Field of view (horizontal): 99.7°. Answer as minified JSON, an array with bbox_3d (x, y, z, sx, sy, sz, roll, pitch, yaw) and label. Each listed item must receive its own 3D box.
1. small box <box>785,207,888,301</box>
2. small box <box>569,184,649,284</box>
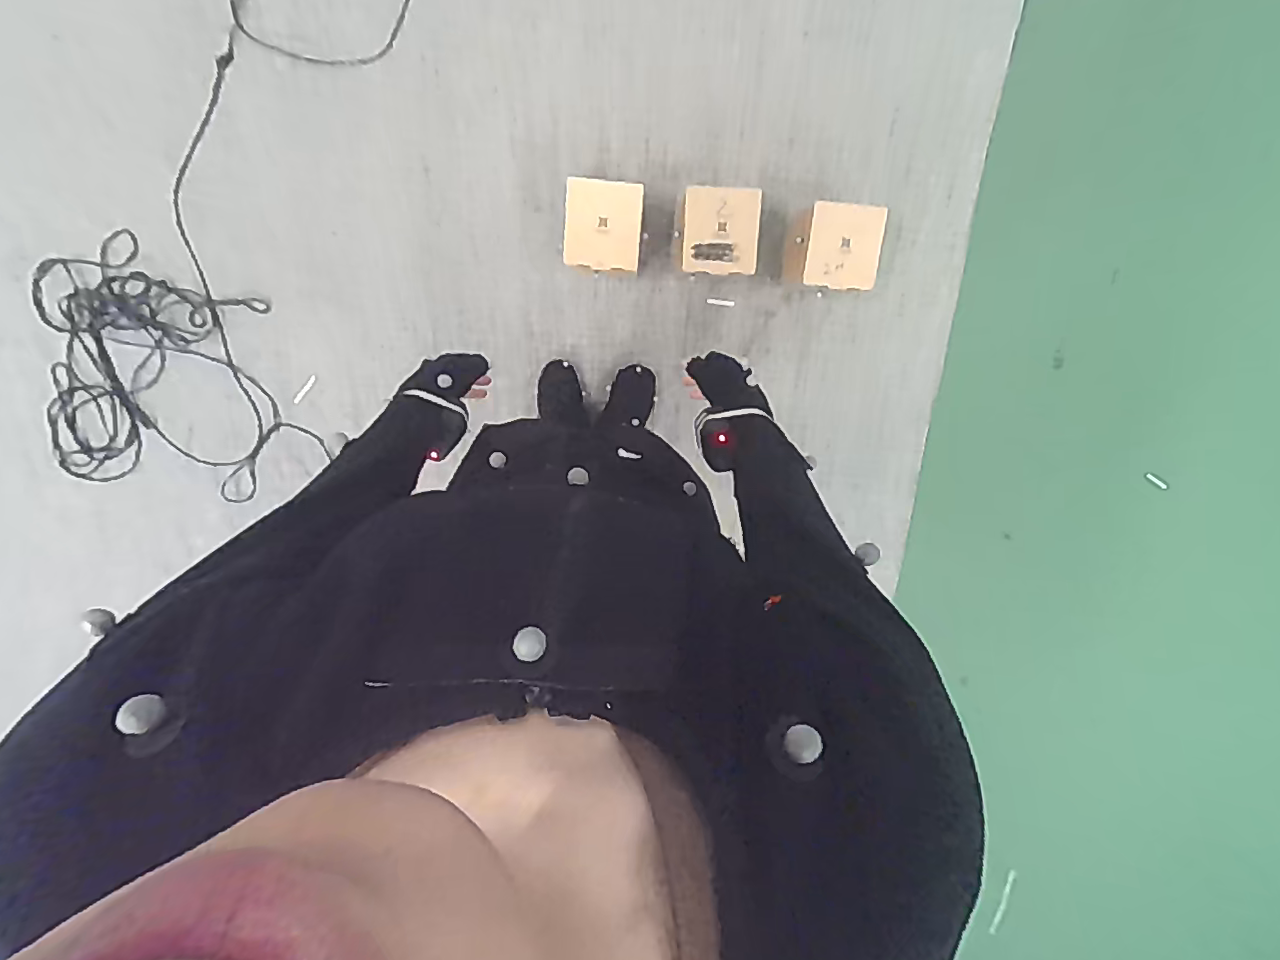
[{"bbox_3d":[0.456,-0.527,1.283,0.168,0.176,0.179,5,106,-2],"label":"small box"},{"bbox_3d":[-0.072,-0.564,1.258,0.168,0.176,0.179,5,105,-2],"label":"small box"}]
